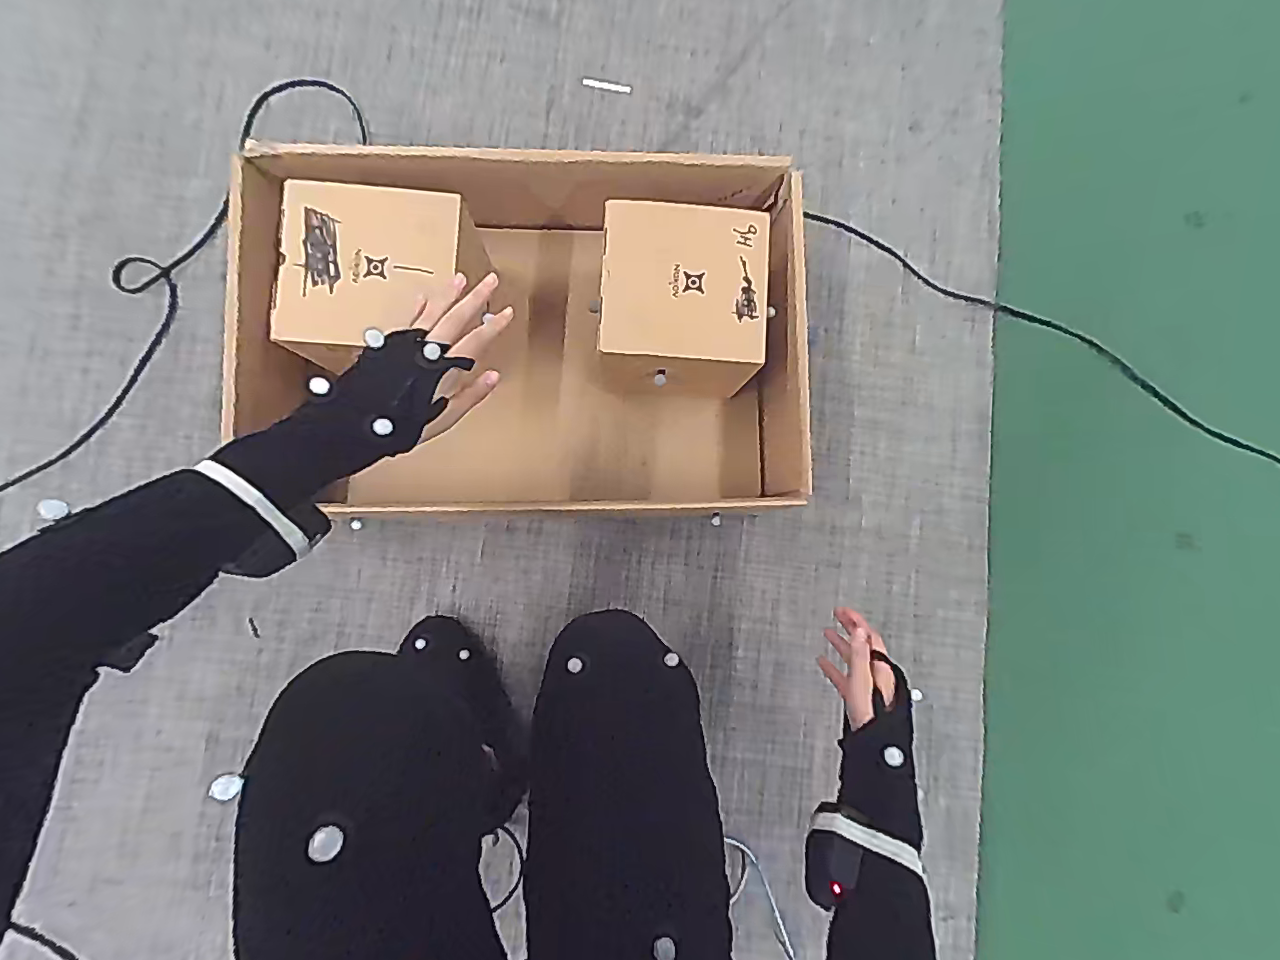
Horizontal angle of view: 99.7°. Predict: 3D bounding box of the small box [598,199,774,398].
[{"bbox_3d":[0.046,-0.199,0.639,0.179,0.176,0.168,4,85,-3],"label":"small box"}]
